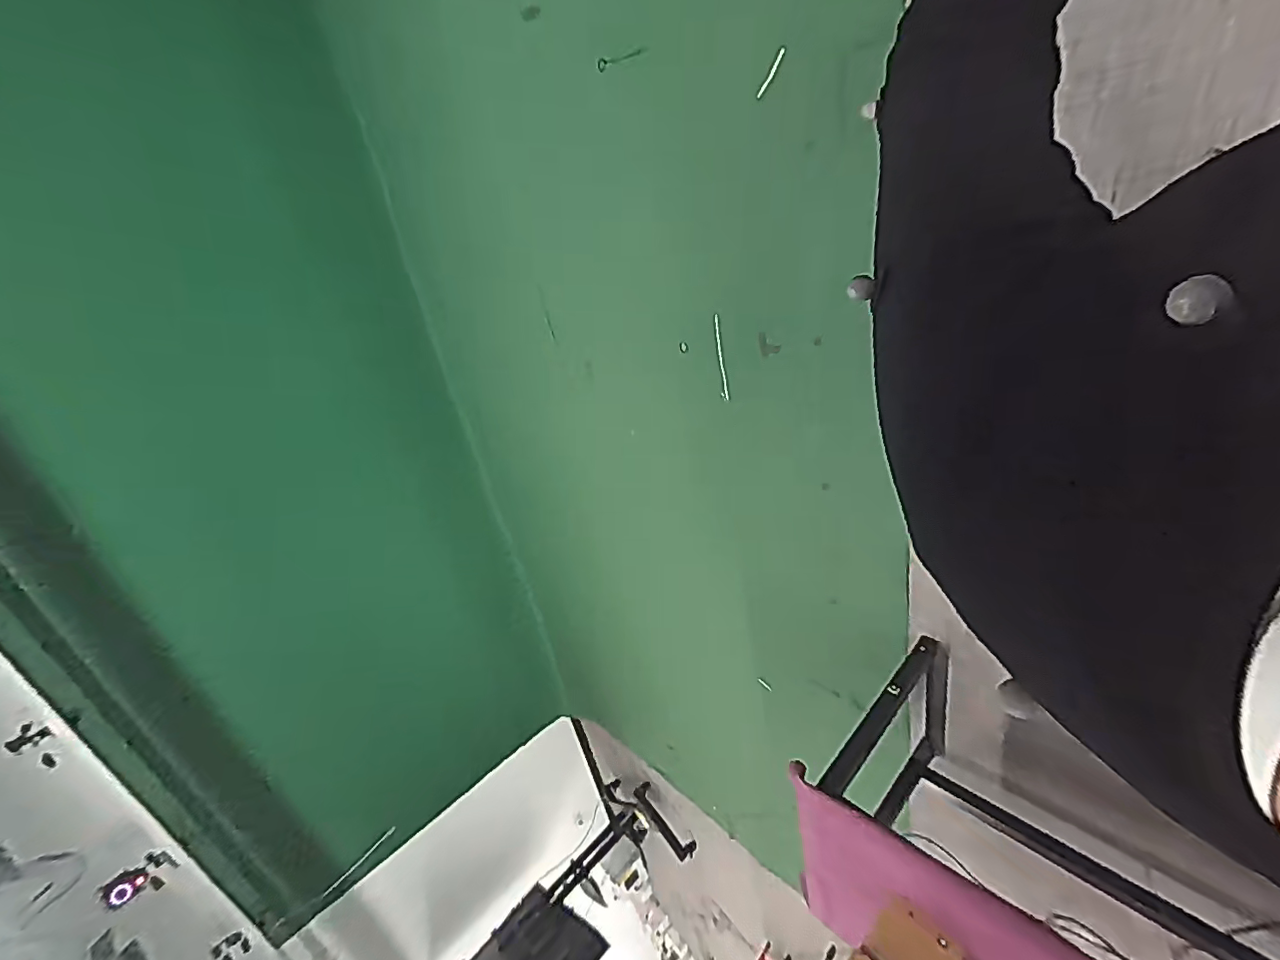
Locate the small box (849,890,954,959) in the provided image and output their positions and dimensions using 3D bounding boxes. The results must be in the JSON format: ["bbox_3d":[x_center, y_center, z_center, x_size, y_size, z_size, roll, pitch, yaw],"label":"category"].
[{"bbox_3d":[0.601,1.111,1.251,0.168,0.176,0.179,23,132,44],"label":"small box"}]
